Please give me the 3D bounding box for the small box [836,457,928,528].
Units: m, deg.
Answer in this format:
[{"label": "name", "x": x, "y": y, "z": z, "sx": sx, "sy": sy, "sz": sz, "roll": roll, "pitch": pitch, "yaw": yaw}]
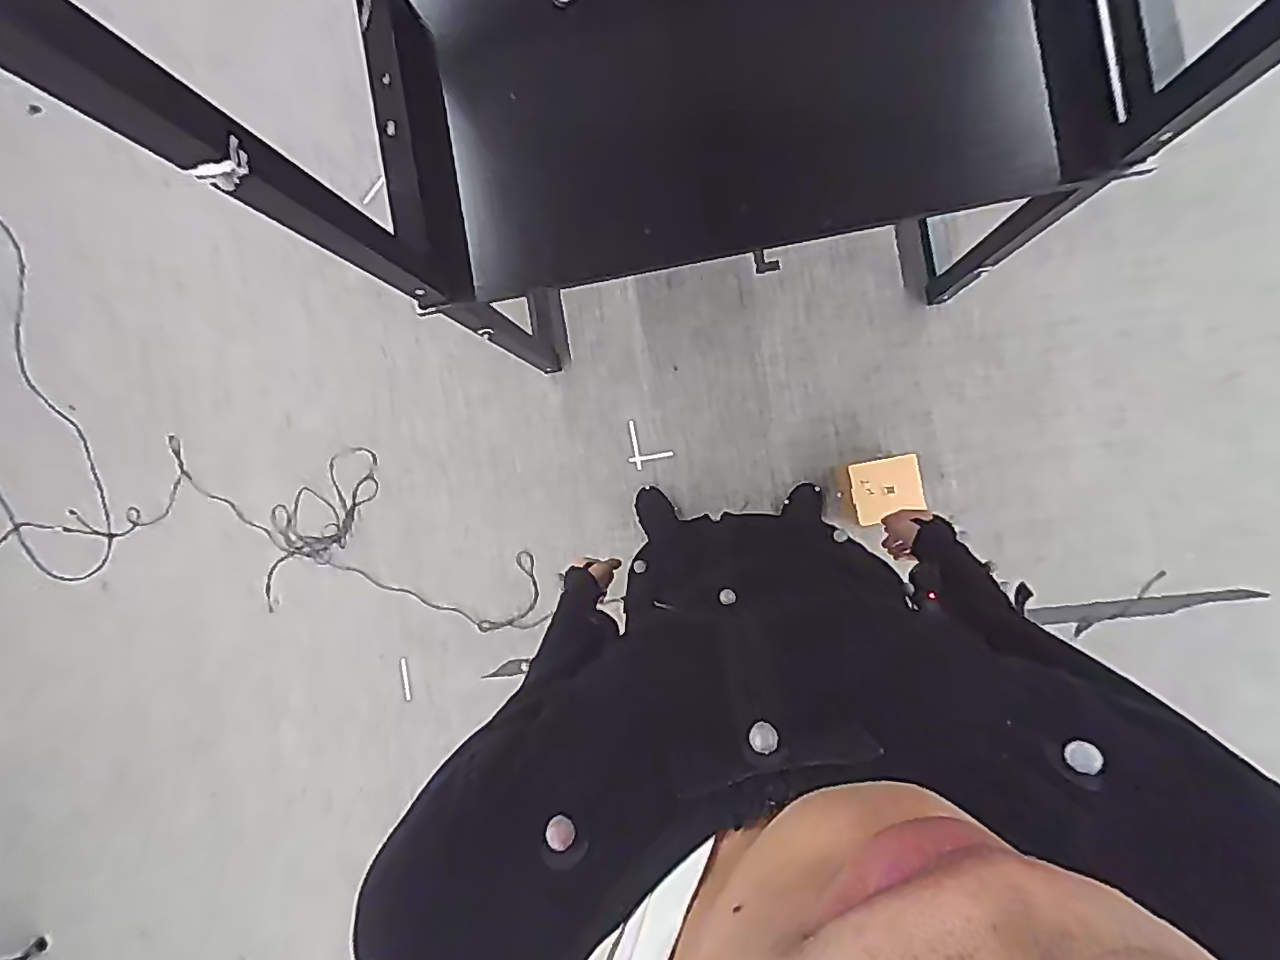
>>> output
[{"label": "small box", "x": 0.659, "y": 0.031, "z": 1.487, "sx": 0.179, "sy": 0.176, "sz": 0.168, "roll": -11, "pitch": 89, "yaw": 8}]
